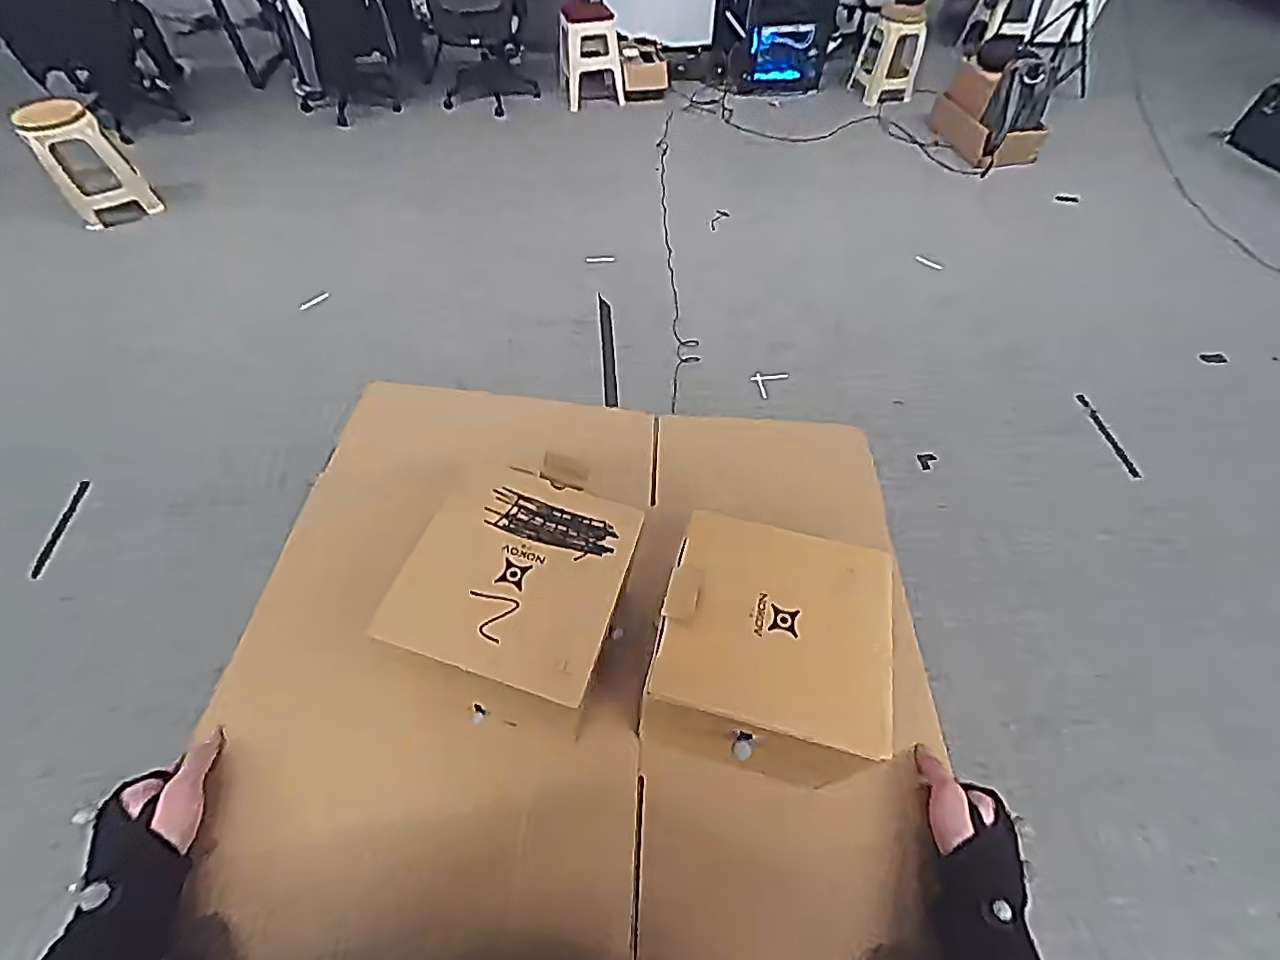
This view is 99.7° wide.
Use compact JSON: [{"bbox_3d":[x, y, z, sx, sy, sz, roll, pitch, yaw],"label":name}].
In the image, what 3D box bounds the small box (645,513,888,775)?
[{"bbox_3d":[0.108,0.158,0.500,0.179,0.176,0.168,12,56,9],"label":"small box"}]
